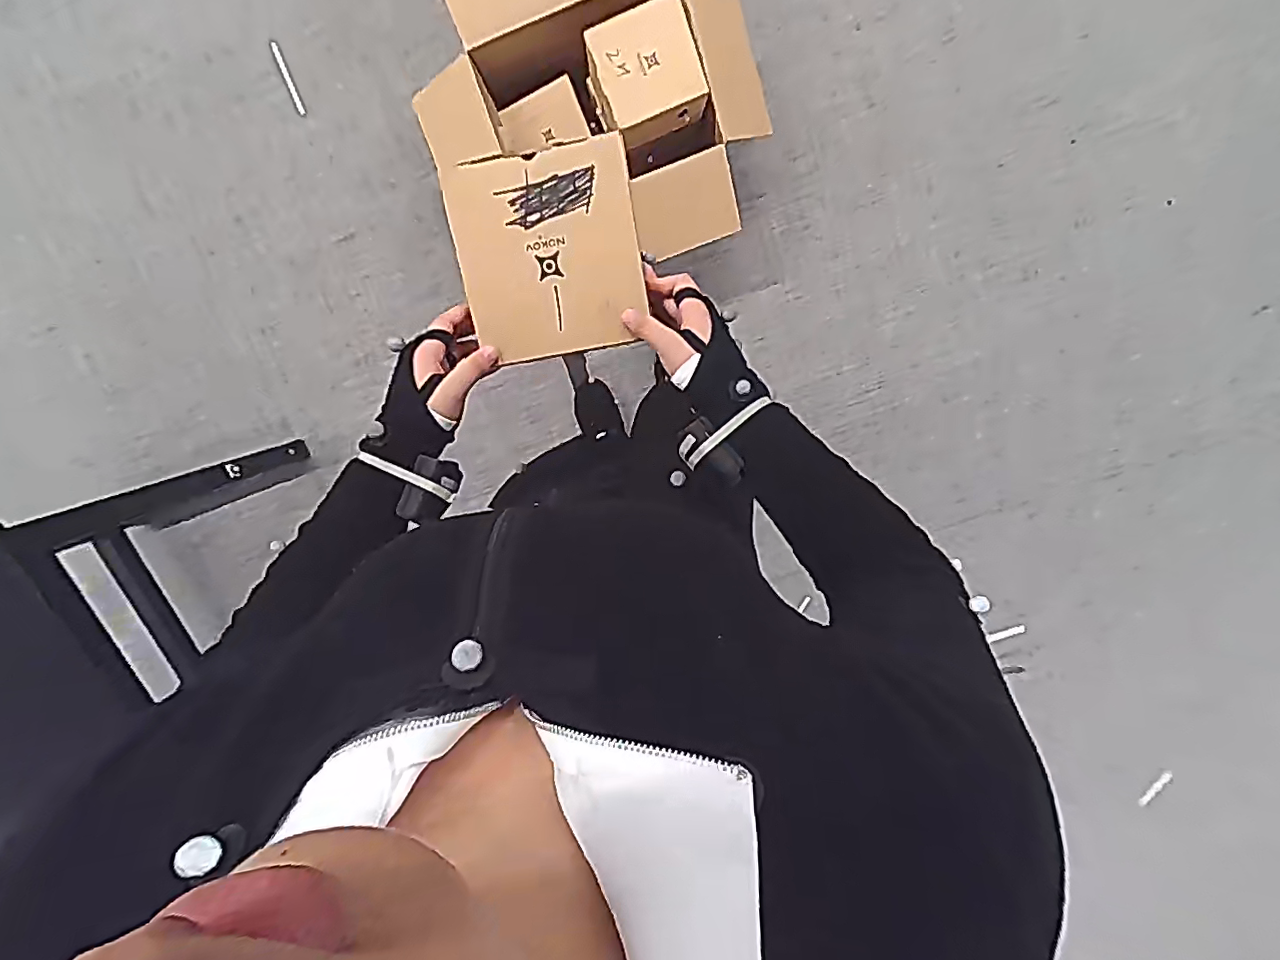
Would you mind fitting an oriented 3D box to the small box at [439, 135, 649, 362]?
[{"bbox_3d":[-0.085,-0.226,0.572,0.168,0.176,0.179,-9,104,4],"label":"small box"}]

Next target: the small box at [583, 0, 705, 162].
[{"bbox_3d":[0.006,-0.741,1.024,0.179,0.176,0.168,-21,103,5],"label":"small box"}]
